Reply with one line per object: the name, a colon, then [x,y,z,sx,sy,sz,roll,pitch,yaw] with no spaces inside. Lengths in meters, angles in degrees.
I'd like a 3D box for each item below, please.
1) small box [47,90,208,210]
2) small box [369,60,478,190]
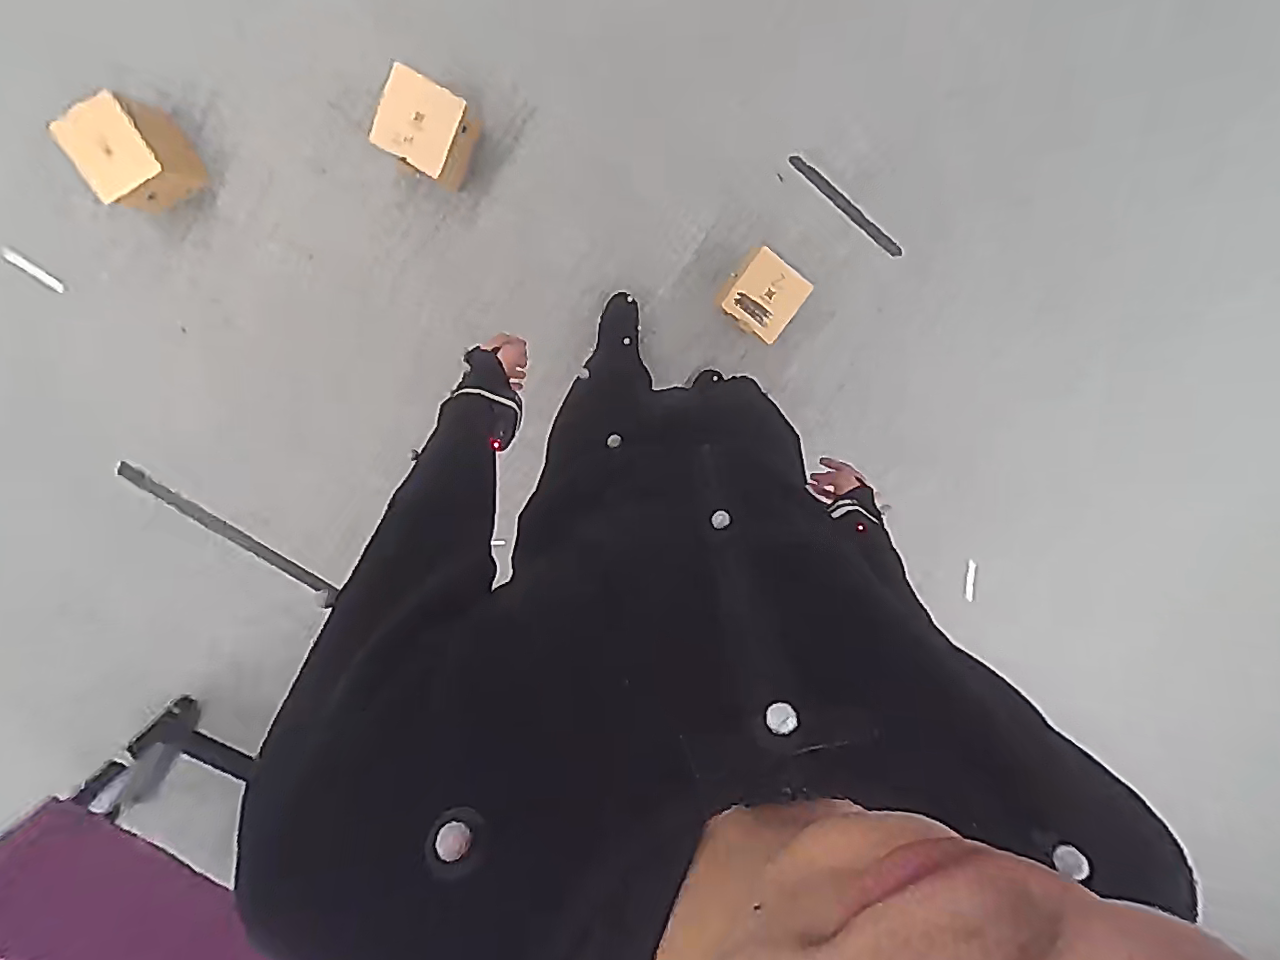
small box: [-1.178,-0.754,1.261,0.168,0.176,0.179,-25,107,6]
small box: [-0.496,-0.817,1.266,0.168,0.176,0.179,26,106,-11]
